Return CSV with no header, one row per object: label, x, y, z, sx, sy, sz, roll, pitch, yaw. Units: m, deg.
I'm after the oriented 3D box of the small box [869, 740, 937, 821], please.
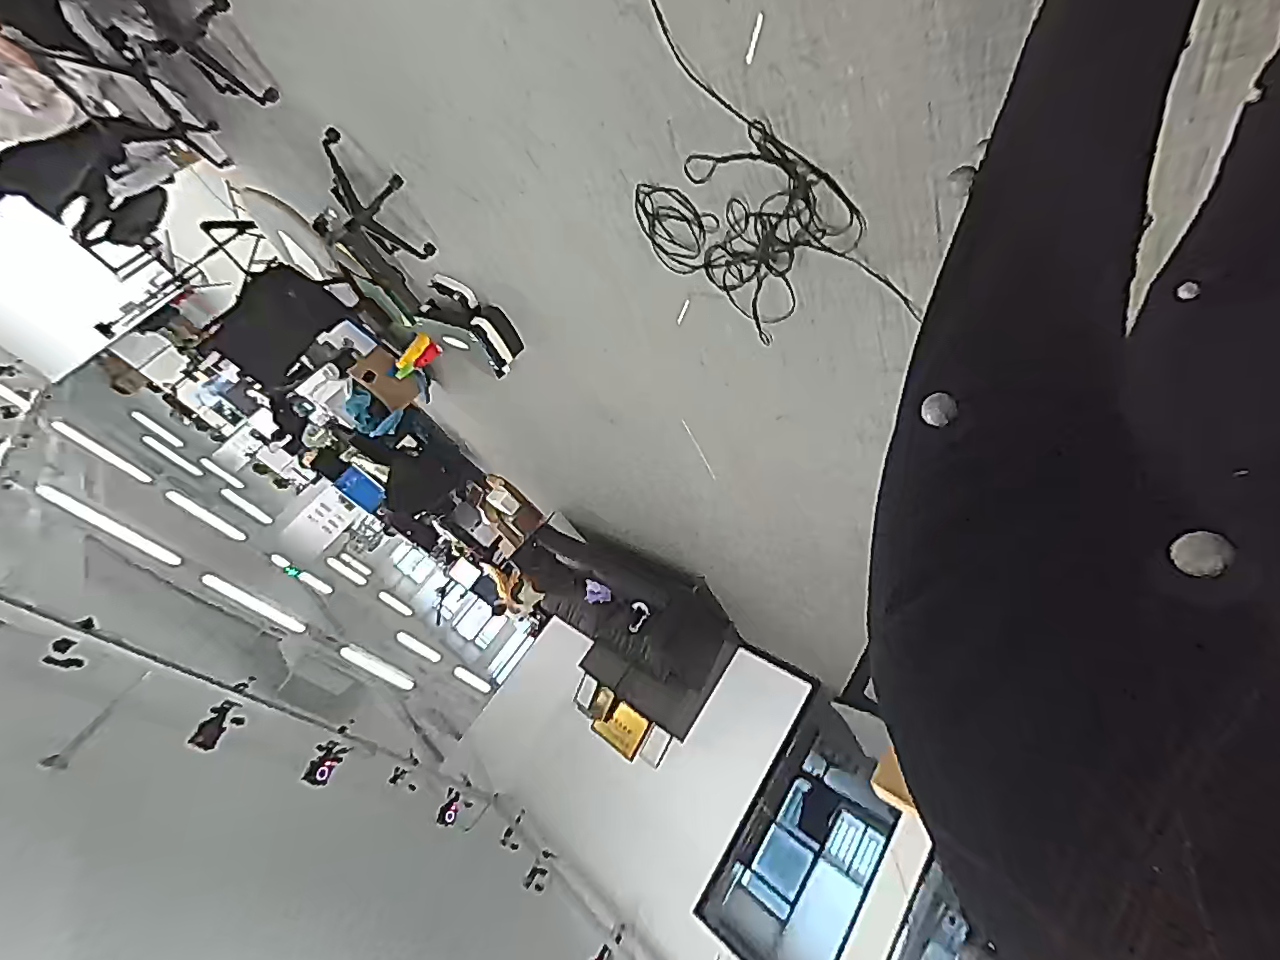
small box,0.942,1.067,1.926,0.168,0.176,0.179,18,152,42
